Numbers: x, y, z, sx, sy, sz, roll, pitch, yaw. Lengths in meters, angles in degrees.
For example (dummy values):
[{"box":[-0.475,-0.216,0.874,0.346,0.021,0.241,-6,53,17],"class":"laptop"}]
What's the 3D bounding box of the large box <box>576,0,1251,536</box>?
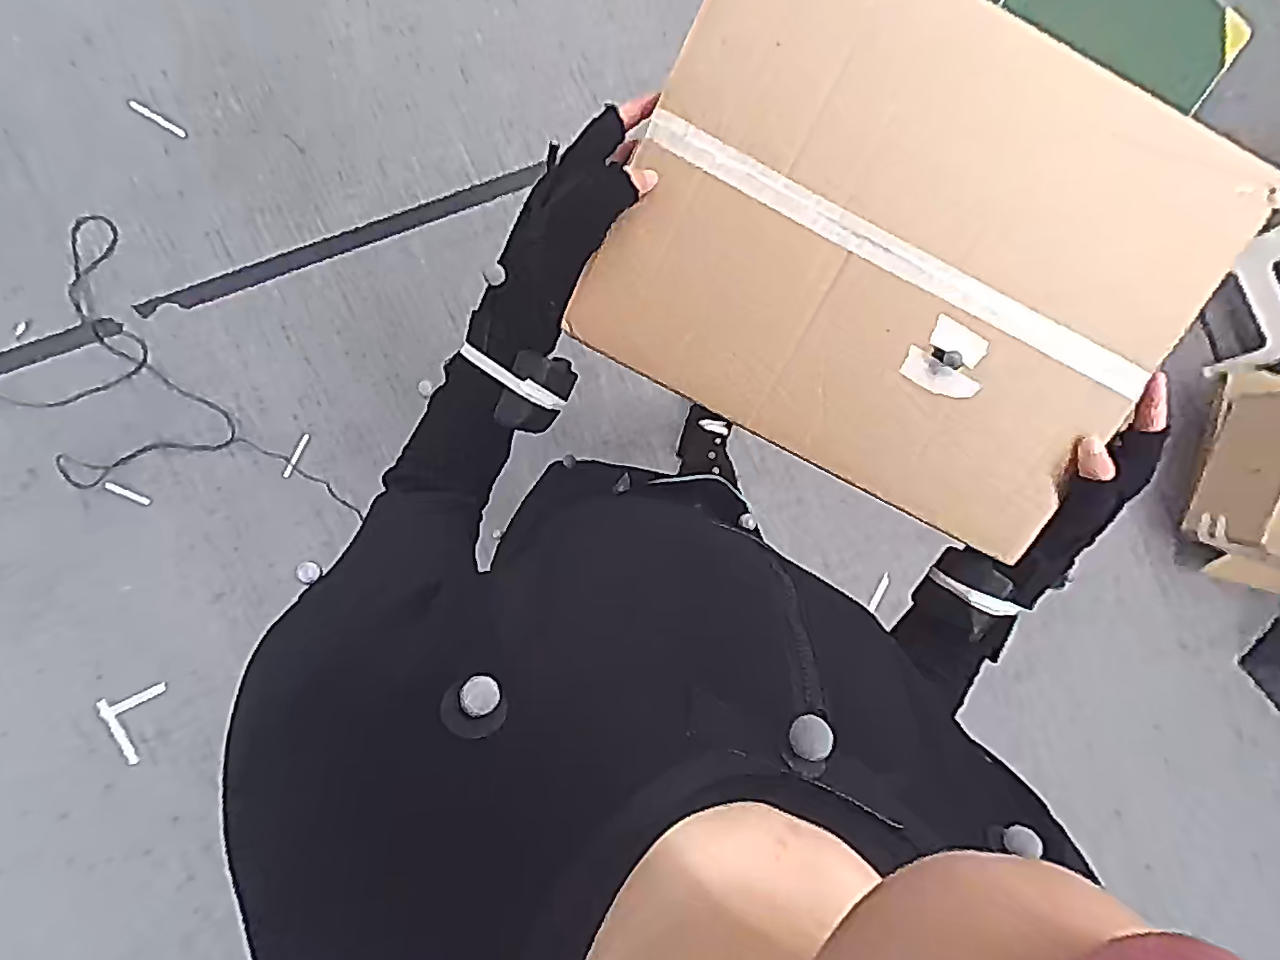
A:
[{"box":[0.196,-0.203,0.548,0.408,0.320,0.320,27,104,-4],"class":"large box"}]
